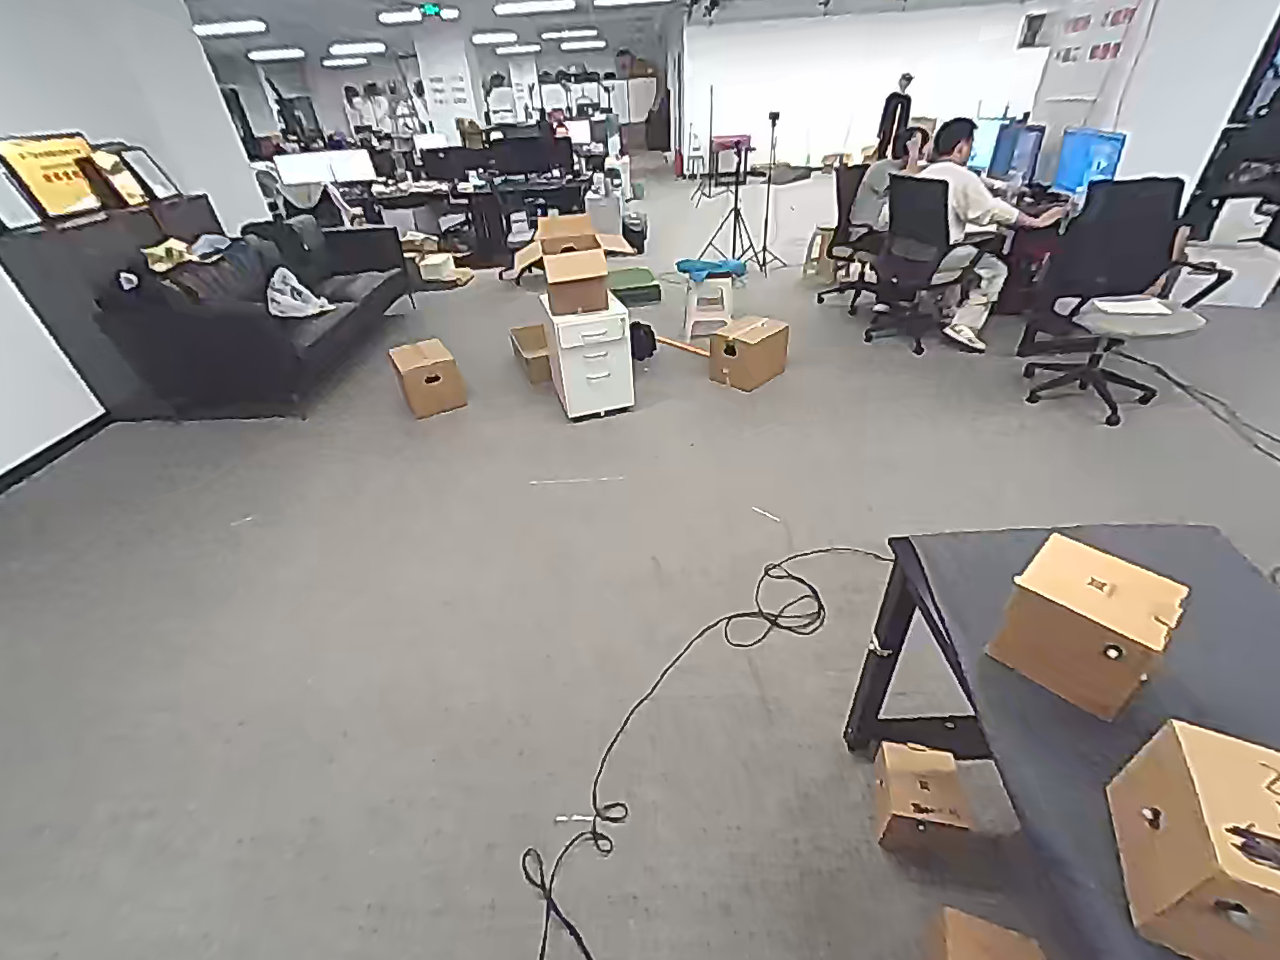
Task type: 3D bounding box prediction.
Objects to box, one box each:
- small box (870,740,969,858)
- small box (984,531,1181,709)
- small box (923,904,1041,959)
[{"bbox_3d":[0.670,0.775,1.319,0.168,0.176,0.179,5,35,12],"label":"small box"},{"bbox_3d":[0.679,0.215,0.848,0.168,0.176,0.179,-29,42,-32],"label":"small box"},{"bbox_3d":[0.654,0.974,1.036,0.168,0.176,0.179,10,36,18],"label":"small box"}]
